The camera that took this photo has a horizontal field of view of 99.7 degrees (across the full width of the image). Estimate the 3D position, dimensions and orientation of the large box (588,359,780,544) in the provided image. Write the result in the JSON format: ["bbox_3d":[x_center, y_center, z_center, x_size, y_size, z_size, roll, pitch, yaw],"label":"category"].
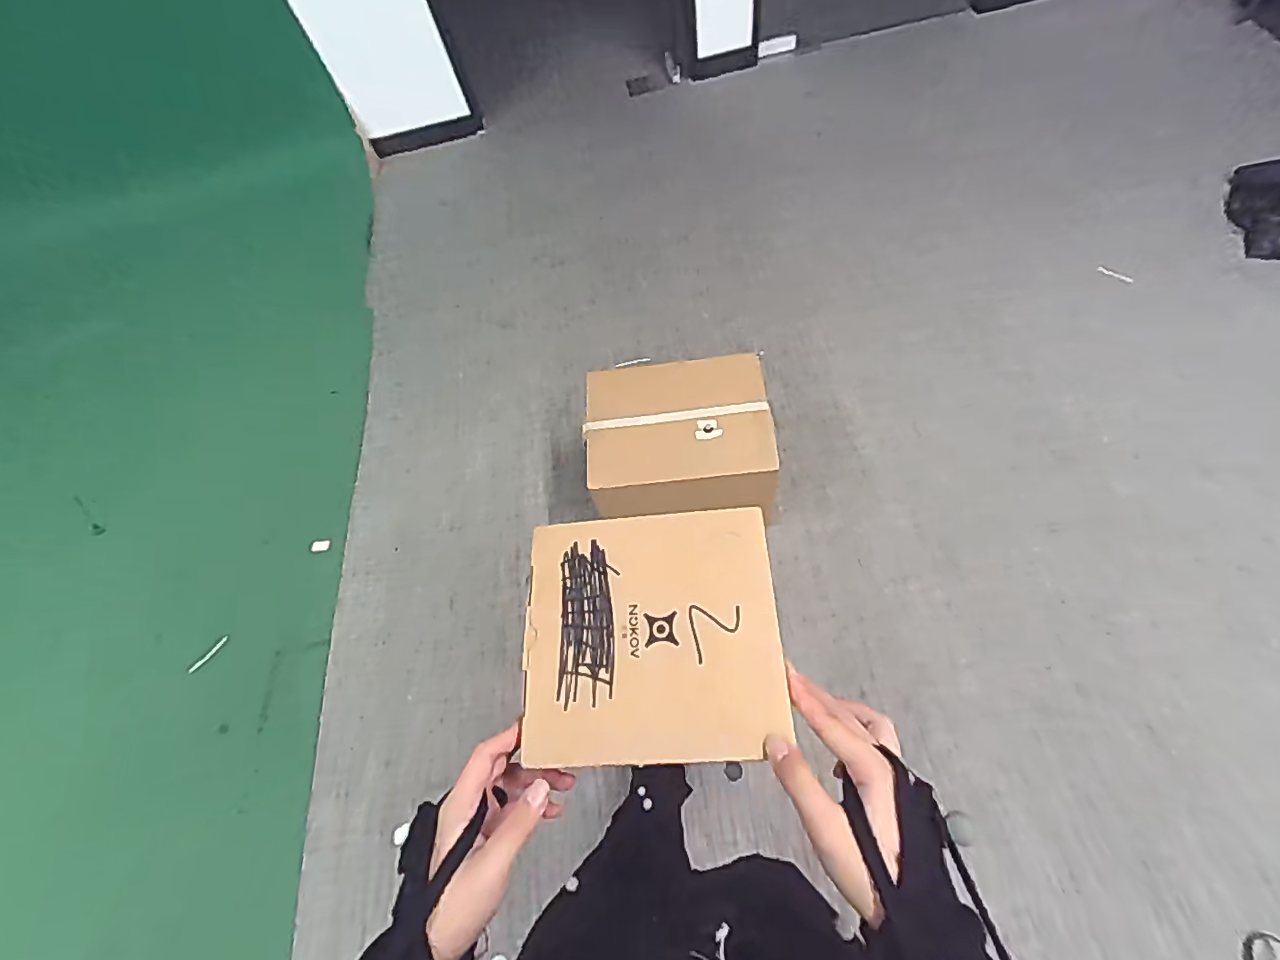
[{"bbox_3d":[0.099,-0.056,1.318,0.408,0.320,0.320,-5,62,5],"label":"large box"}]
